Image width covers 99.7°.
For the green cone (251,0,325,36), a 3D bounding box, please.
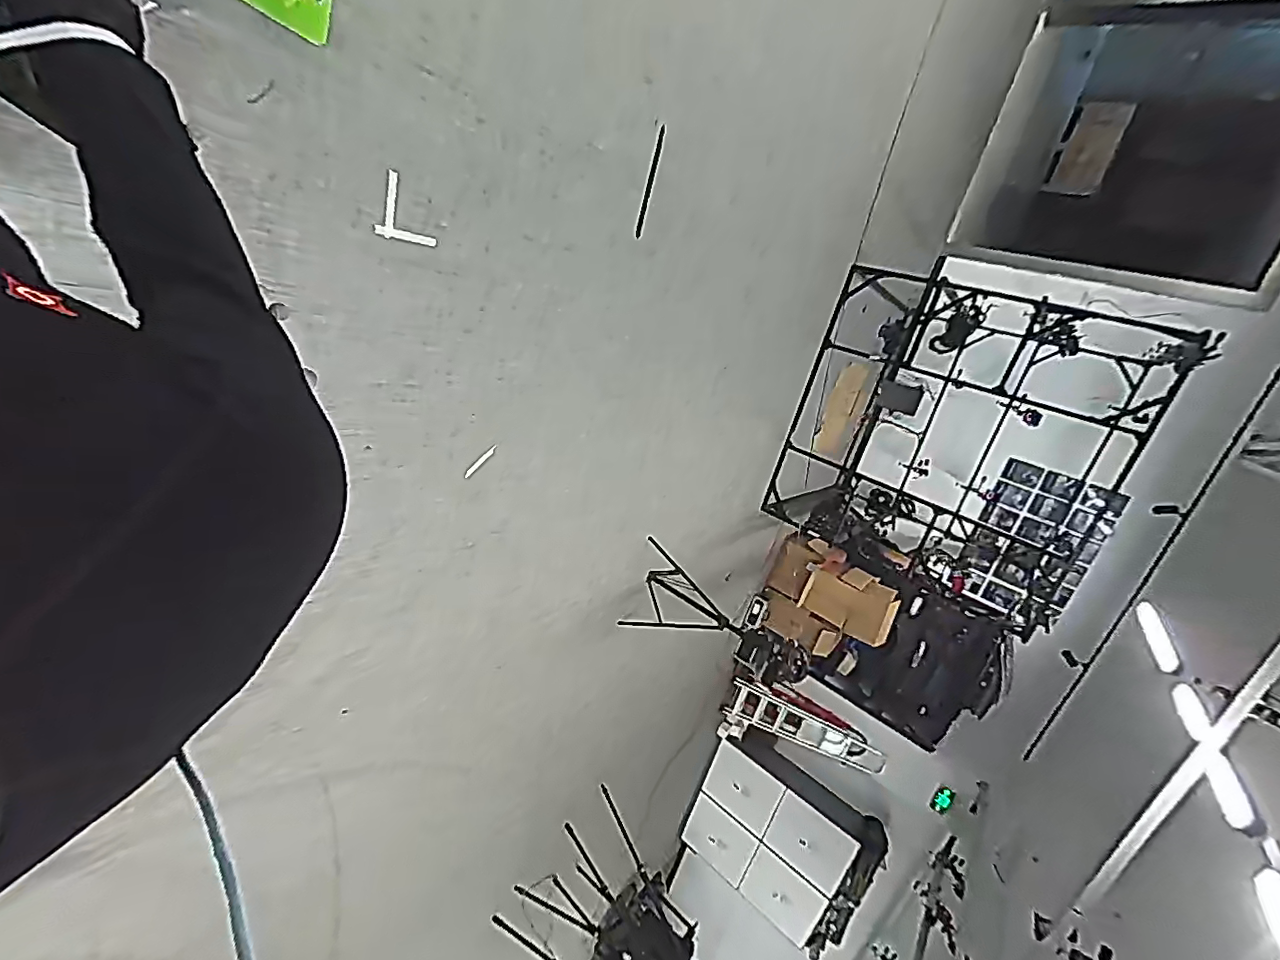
[{"bbox_3d":[-0.582,-0.958,0.966,0.202,0.368,0.200,-4,117,-56],"label":"green cone"}]
